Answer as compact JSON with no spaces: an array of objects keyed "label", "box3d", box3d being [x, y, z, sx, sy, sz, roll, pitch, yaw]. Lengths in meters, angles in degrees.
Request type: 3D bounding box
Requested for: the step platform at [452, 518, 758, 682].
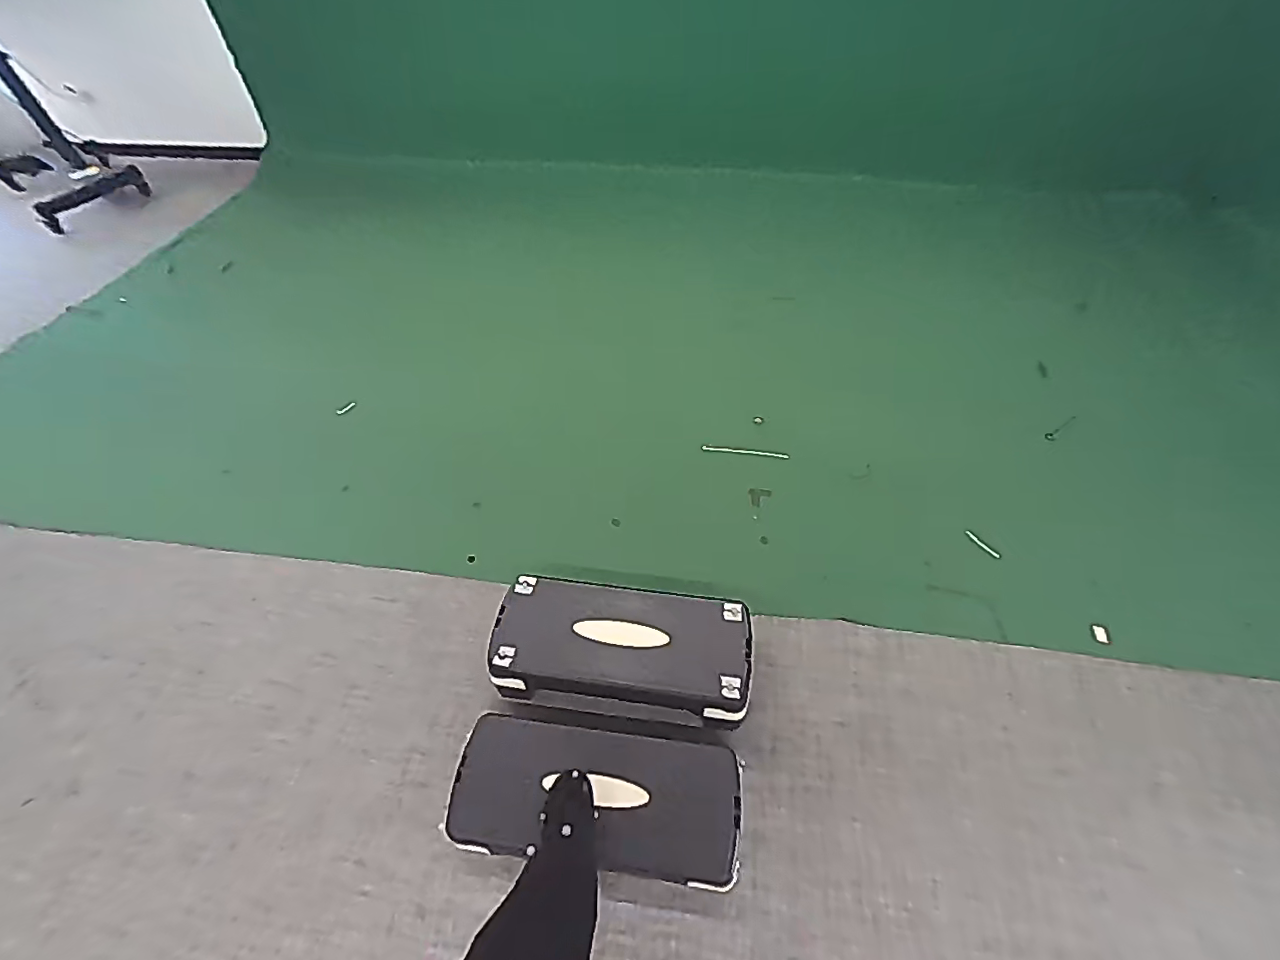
[{"label":"step platform","box3d":[-0.074,0.287,1.299,0.684,0.204,0.286,5,52,6]}]
